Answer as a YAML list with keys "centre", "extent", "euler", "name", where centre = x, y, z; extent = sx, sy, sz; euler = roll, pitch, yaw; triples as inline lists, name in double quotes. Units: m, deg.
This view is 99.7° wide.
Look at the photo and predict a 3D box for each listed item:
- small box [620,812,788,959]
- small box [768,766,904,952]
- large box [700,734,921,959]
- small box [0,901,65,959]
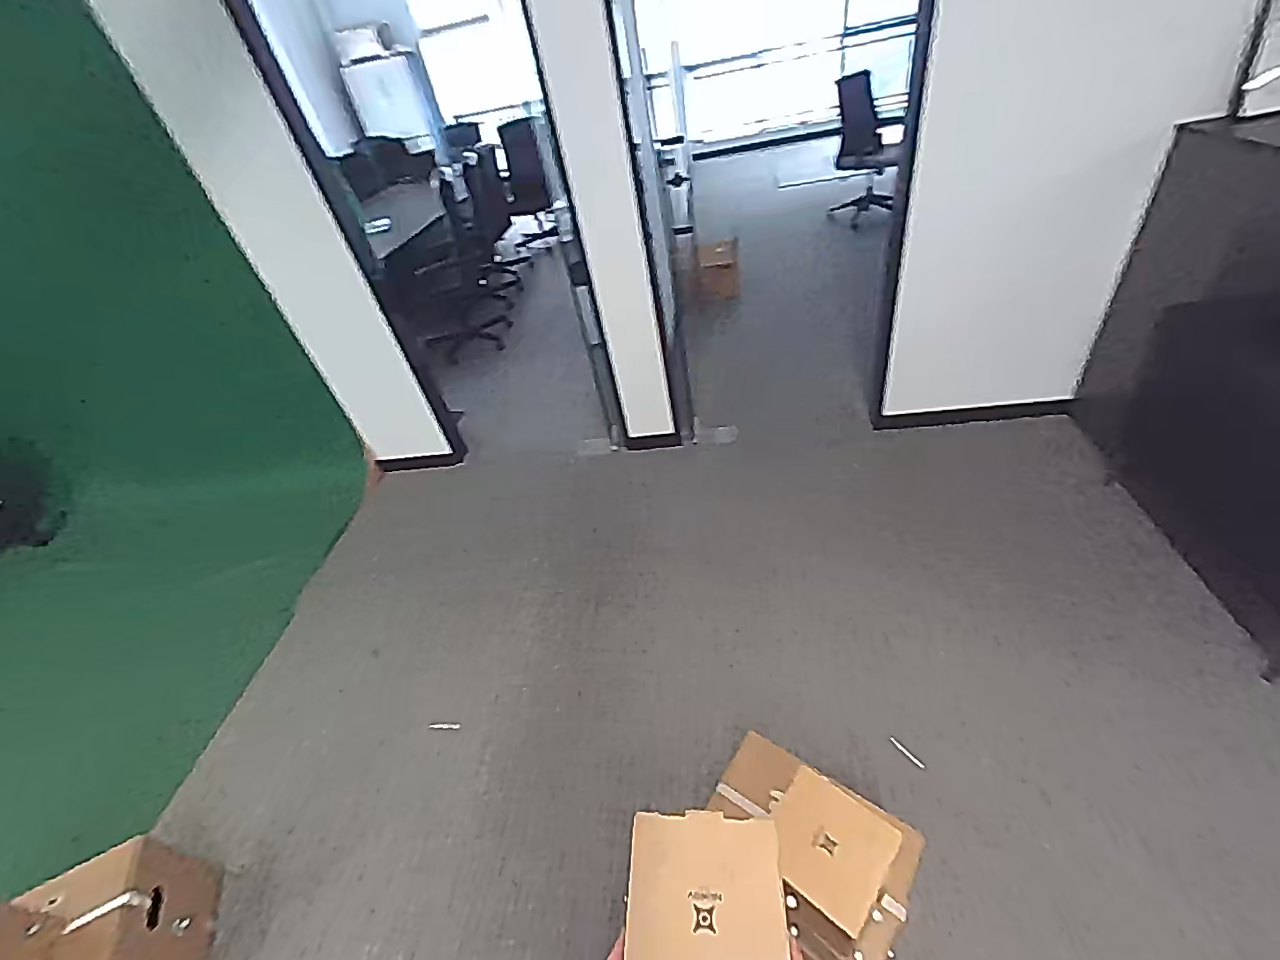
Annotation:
- centre: [0.072, 0.504, 0.607]
  extent: [0.168, 0.176, 0.179]
  euler: [-2, 40, 7]
  name: "small box"
- centre: [0.303, 0.619, 0.882]
  extent: [0.179, 0.176, 0.168]
  euler: [22, 52, 37]
  name: "small box"
- centre: [0.356, 0.869, 1.212]
  extent: [0.408, 0.320, 0.320]
  euler: [20, 49, 34]
  name: "large box"
- centre: [-1.364, 1.019, 1.111]
  extent: [0.179, 0.176, 0.168]
  euler: [-25, 41, -13]
  name: "small box"
